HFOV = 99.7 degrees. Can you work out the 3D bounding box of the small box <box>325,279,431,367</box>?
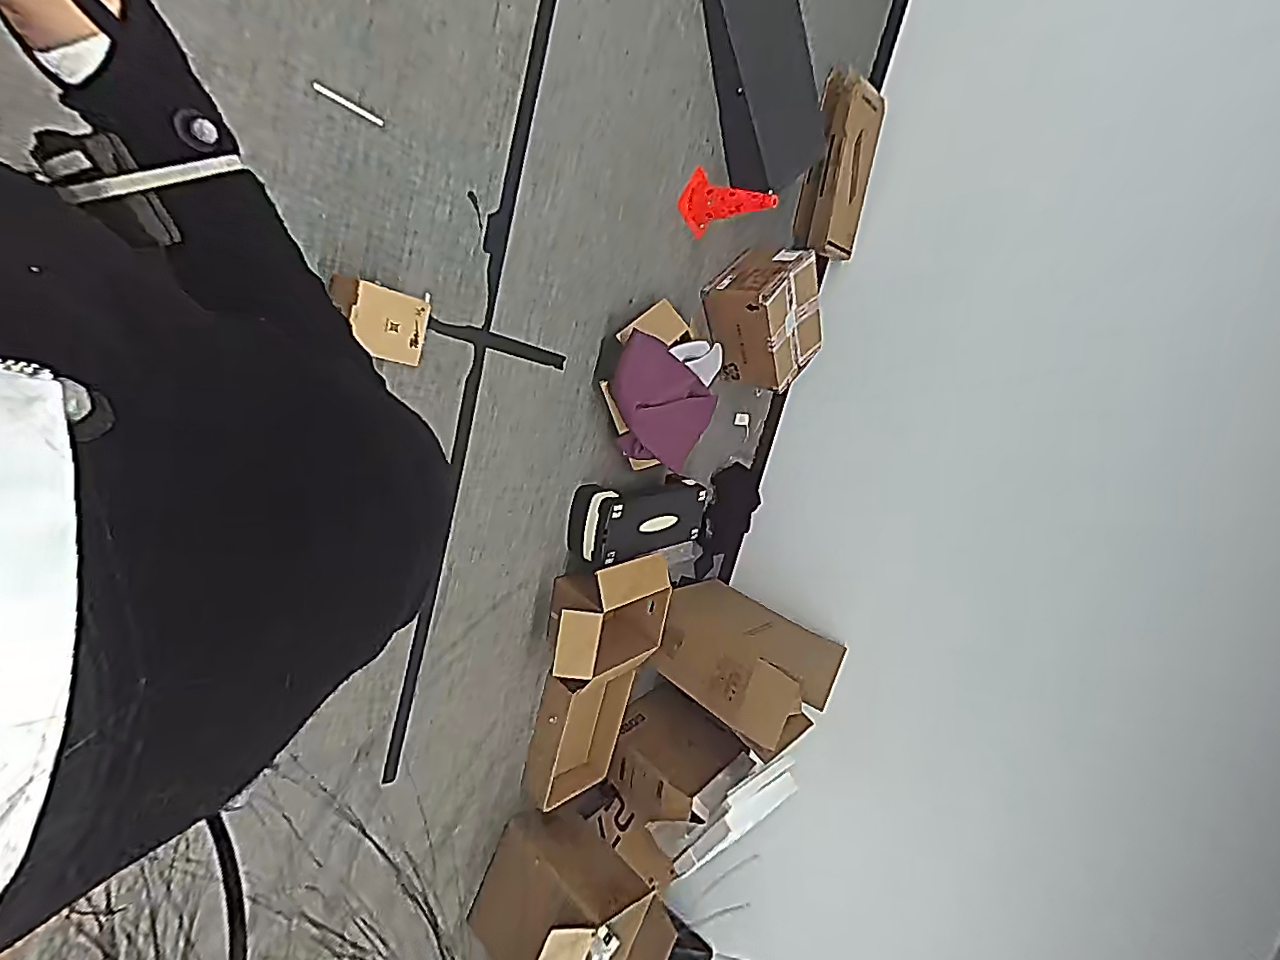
[{"bbox_3d":[-0.658,-0.394,1.352,0.179,0.176,0.168,7,102,-50],"label":"small box"}]
